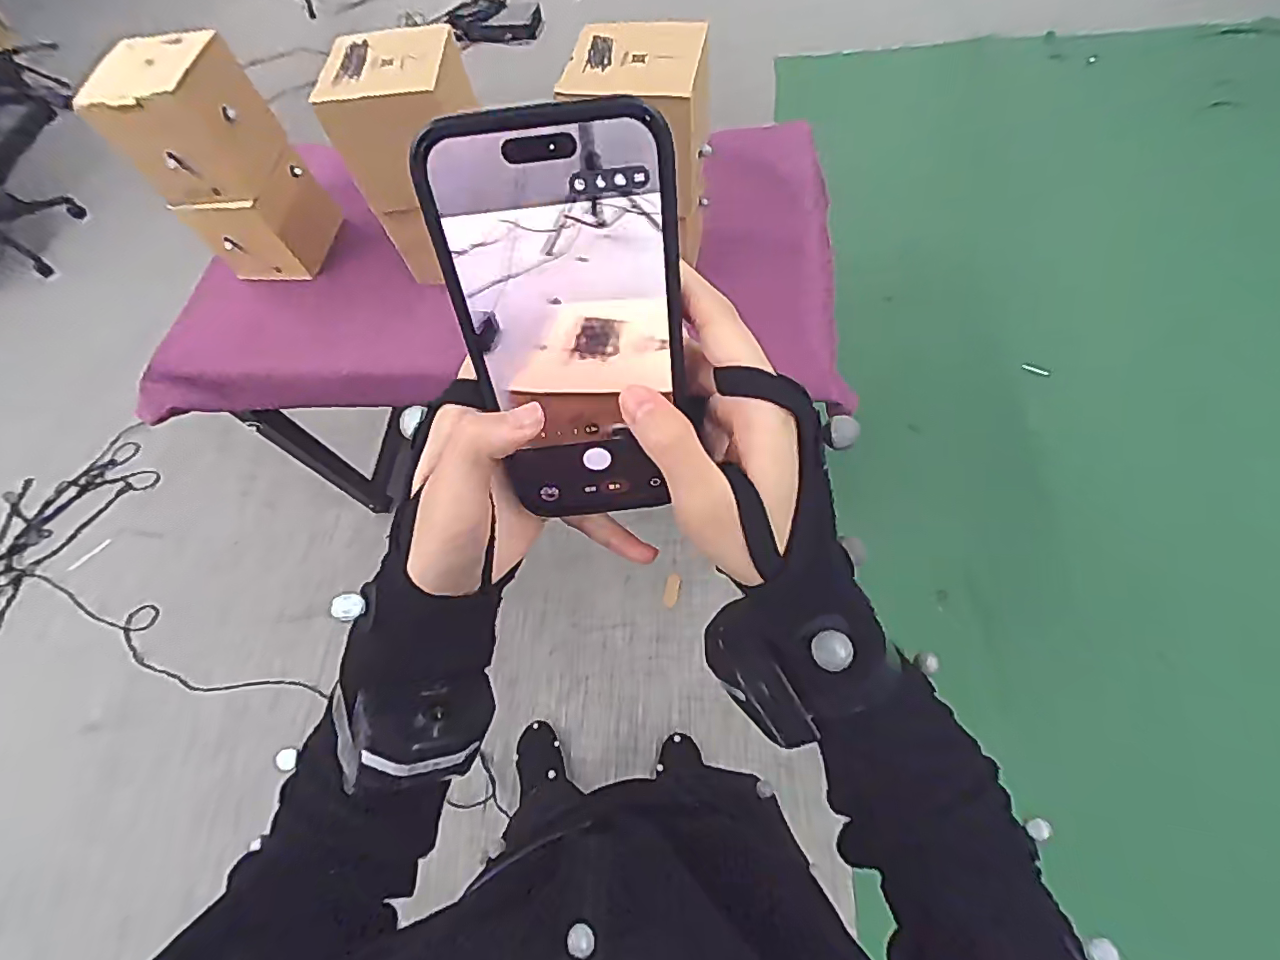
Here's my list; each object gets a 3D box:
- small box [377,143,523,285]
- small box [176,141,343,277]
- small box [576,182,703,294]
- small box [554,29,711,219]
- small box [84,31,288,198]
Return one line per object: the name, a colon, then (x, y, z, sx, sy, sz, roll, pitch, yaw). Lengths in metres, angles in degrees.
small box: (-0.326, -0.471, 0.971, 0.179, 0.176, 0.168, 3, 64, 8)
small box: (-0.710, -0.510, 1.035, 0.168, 0.176, 0.179, 4, 64, 8)
small box: (0.010, -0.439, 0.920, 0.179, 0.176, 0.168, 9, 65, 11)
small box: (0.000, -0.497, 0.766, 0.179, 0.176, 0.168, 9, 65, 10)
small box: (-0.725, -0.590, 0.891, 0.168, 0.176, 0.179, -1, 64, 5)
